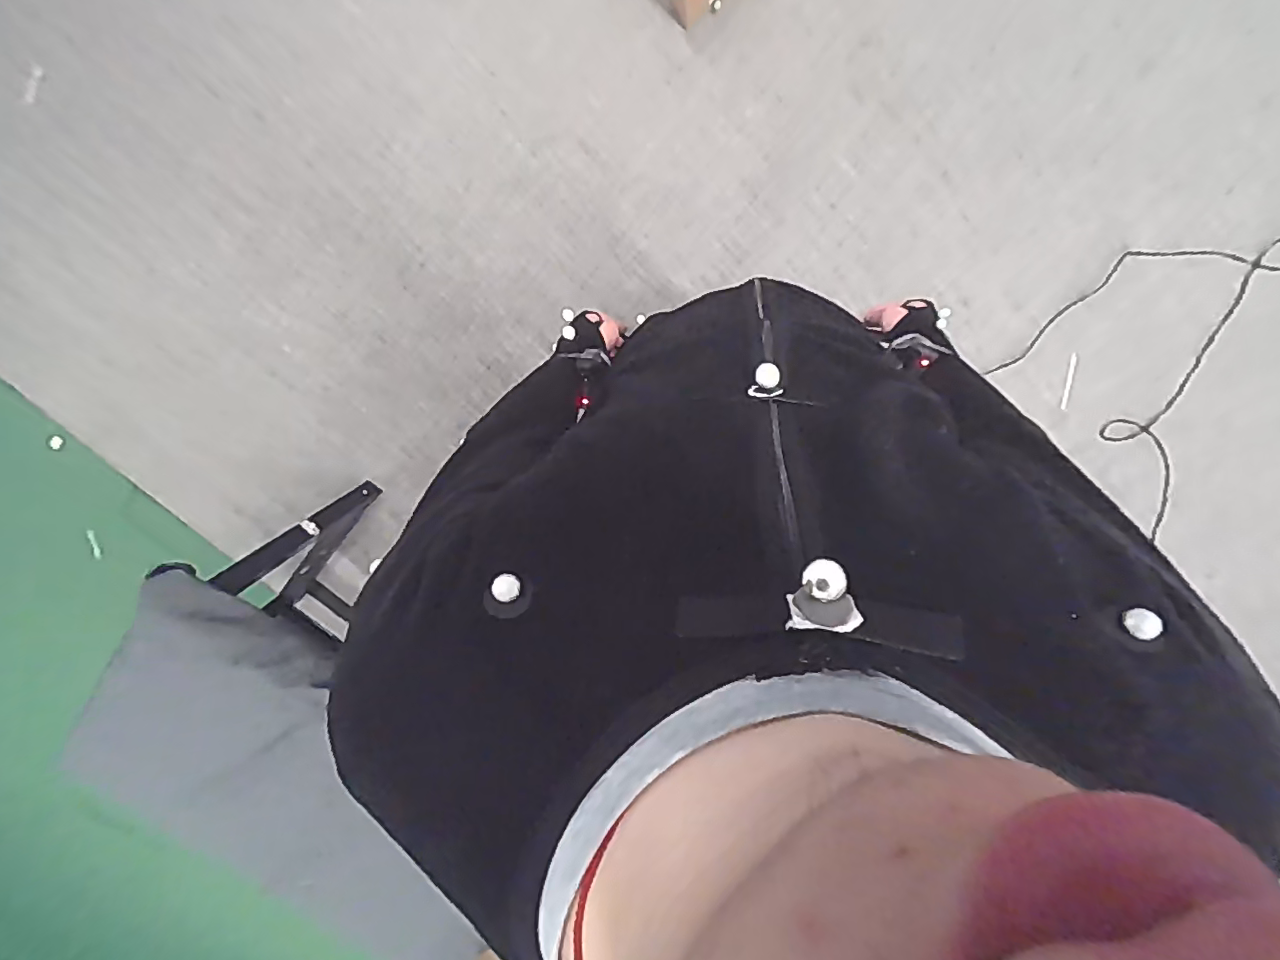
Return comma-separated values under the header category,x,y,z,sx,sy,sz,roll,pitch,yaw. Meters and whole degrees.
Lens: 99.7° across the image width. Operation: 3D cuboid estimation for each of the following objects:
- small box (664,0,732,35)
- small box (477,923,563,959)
category,x,y,z,sx,sy,sz,roll,pitch,yaw
small box,0.114,-1.096,1.129,0.168,0.176,0.179,-32,105,17
small box,-0.289,1.161,1.227,0.168,0.176,0.179,39,109,-8
